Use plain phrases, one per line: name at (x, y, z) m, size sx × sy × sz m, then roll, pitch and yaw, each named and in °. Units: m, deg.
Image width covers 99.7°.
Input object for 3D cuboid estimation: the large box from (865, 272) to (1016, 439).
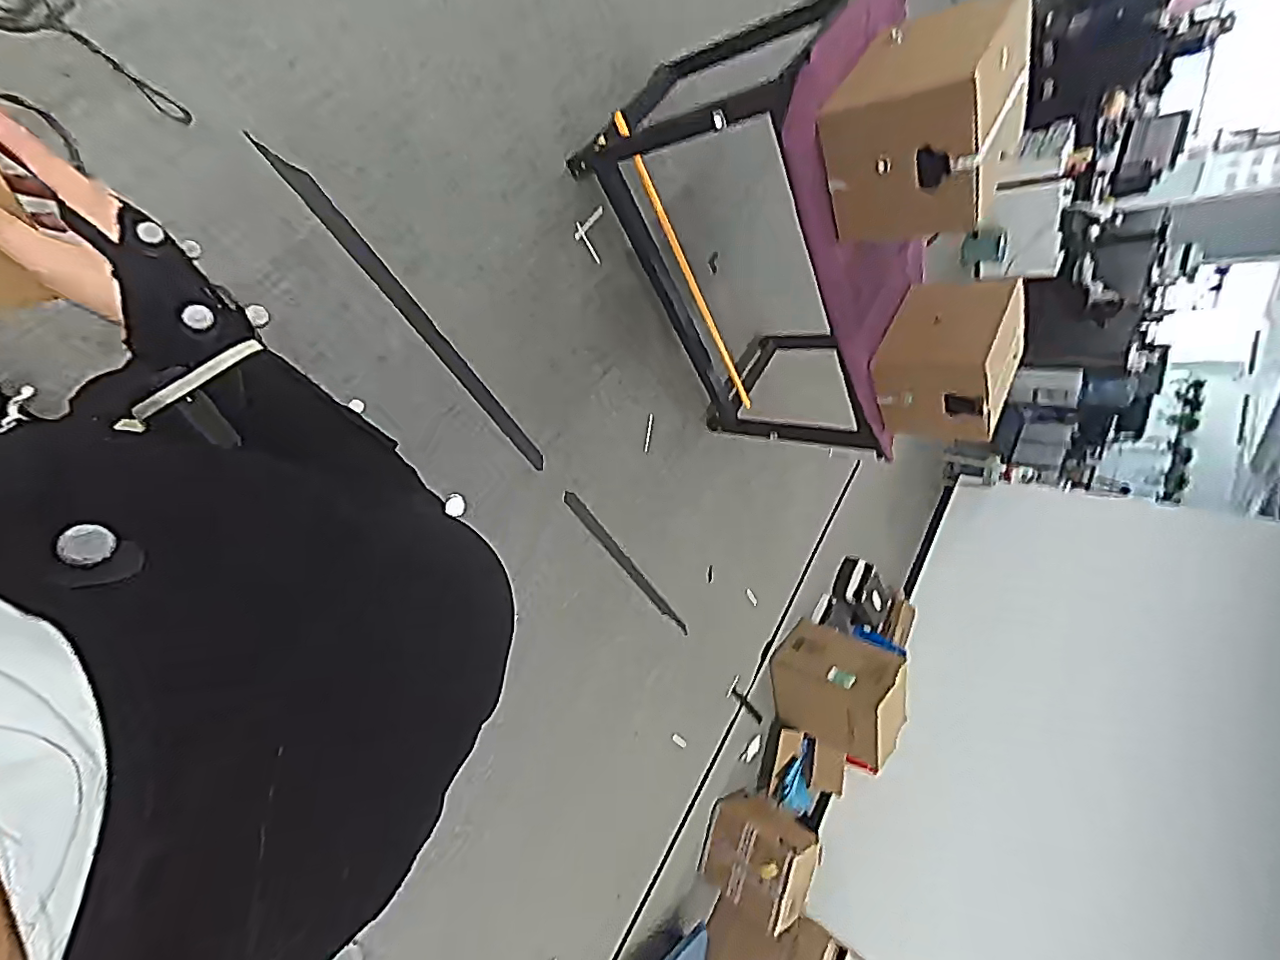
large box at (0.952, -0.385, 1.704) m, size 0.408 × 0.320 × 0.320 m, roll -57°, pitch 135°, yaw -23°
